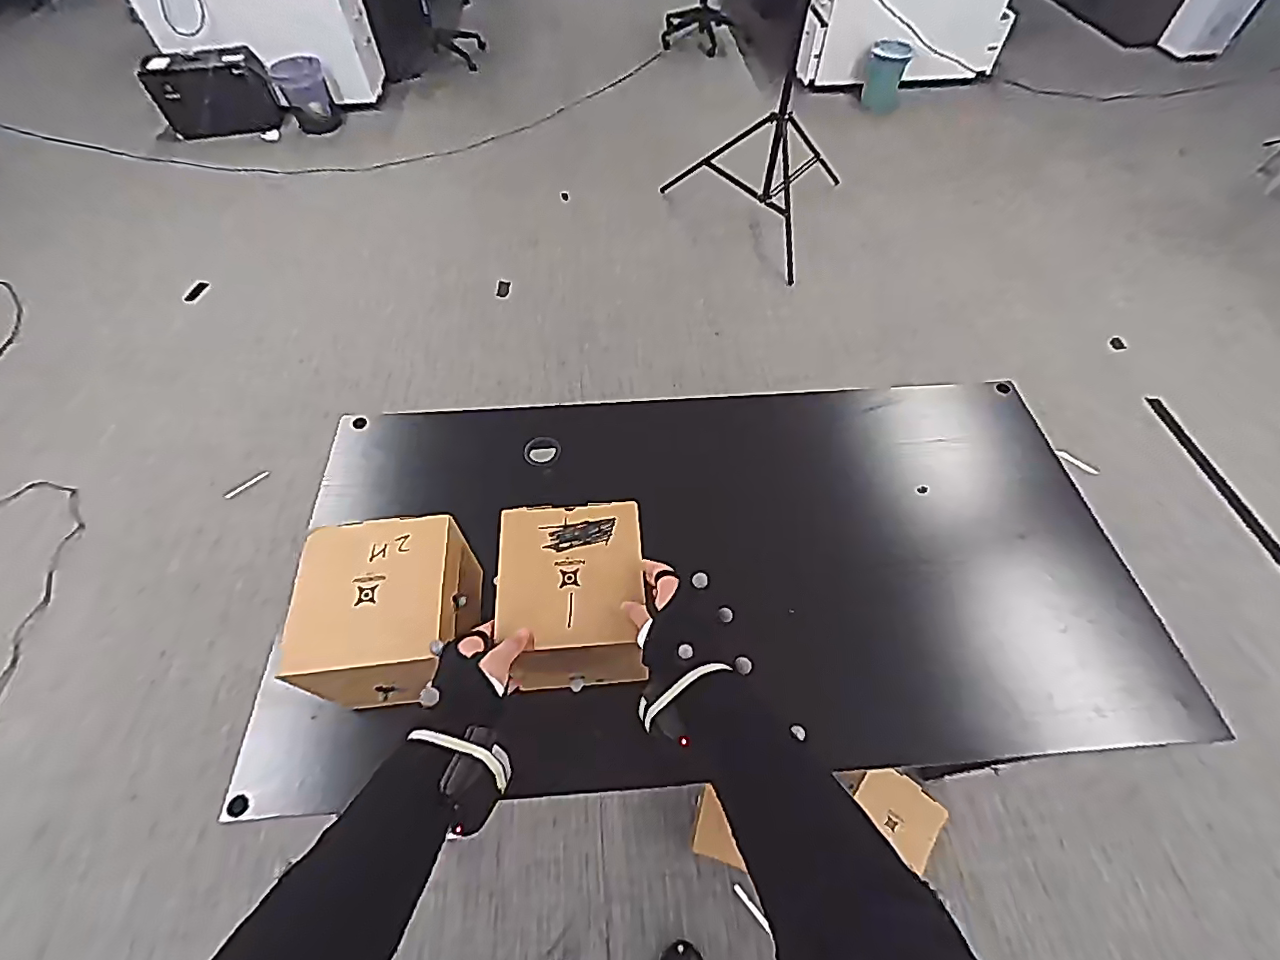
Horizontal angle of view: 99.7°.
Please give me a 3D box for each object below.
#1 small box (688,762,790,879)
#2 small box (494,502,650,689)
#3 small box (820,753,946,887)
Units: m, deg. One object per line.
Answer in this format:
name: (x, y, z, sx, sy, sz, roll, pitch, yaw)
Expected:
small box: (0.209, 0.731, 1.167, 0.179, 0.176, 0.168, 13, 57, 10)
small box: (-0.078, 0.148, 0.679, 0.168, 0.176, 0.179, -4, 57, -2)
small box: (0.513, 0.728, 1.165, 0.168, 0.176, 0.179, 34, 63, 21)
